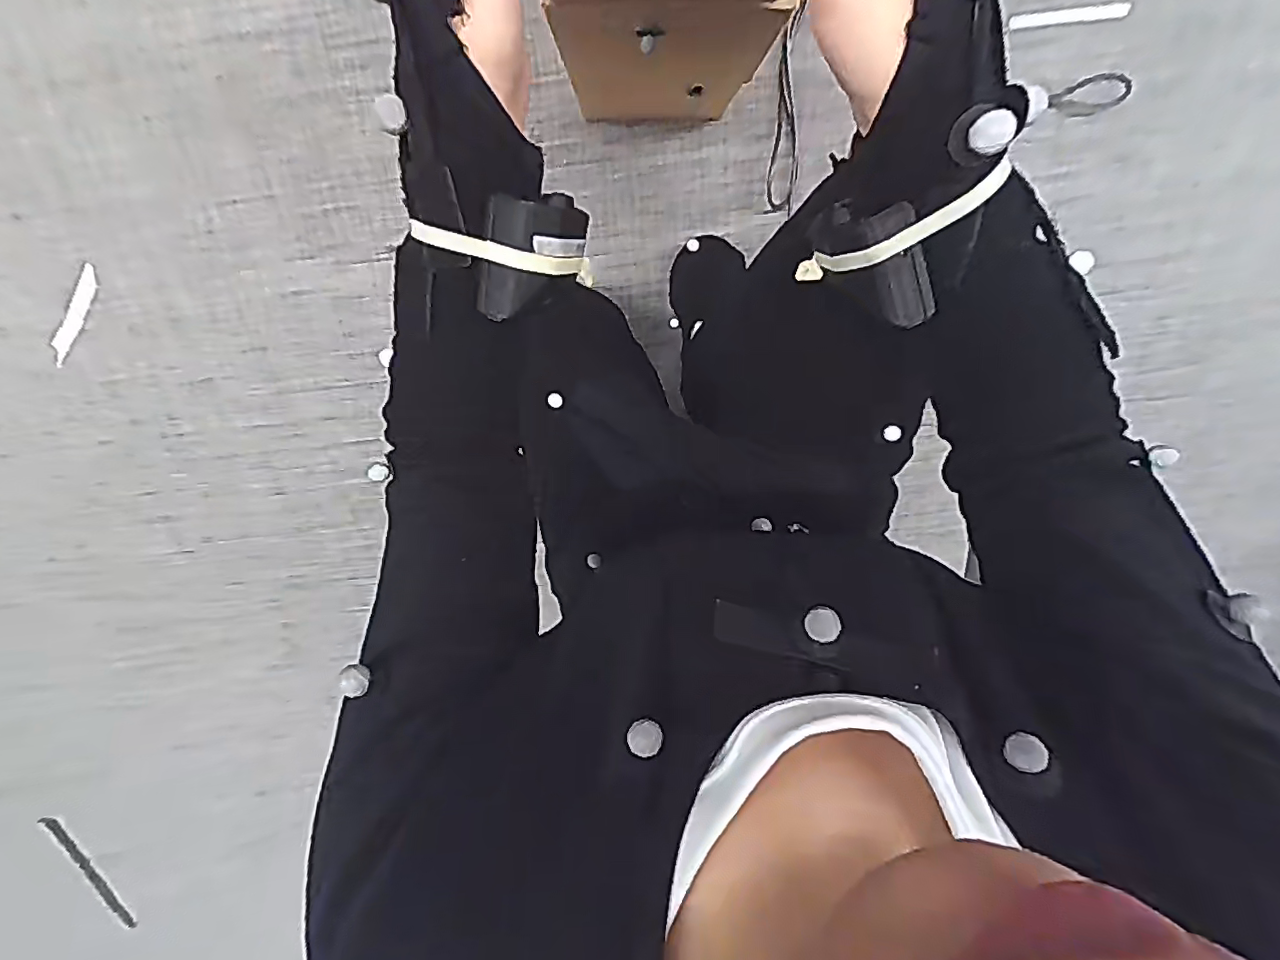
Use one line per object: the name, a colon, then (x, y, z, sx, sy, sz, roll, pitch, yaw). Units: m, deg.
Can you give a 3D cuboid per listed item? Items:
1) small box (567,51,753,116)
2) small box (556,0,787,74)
small box: (0.017, -0.490, 0.551, 0.179, 0.176, 0.168, 0, 111, 0)
small box: (0.021, -0.425, 0.401, 0.179, 0.176, 0.168, 0, 112, -1)
